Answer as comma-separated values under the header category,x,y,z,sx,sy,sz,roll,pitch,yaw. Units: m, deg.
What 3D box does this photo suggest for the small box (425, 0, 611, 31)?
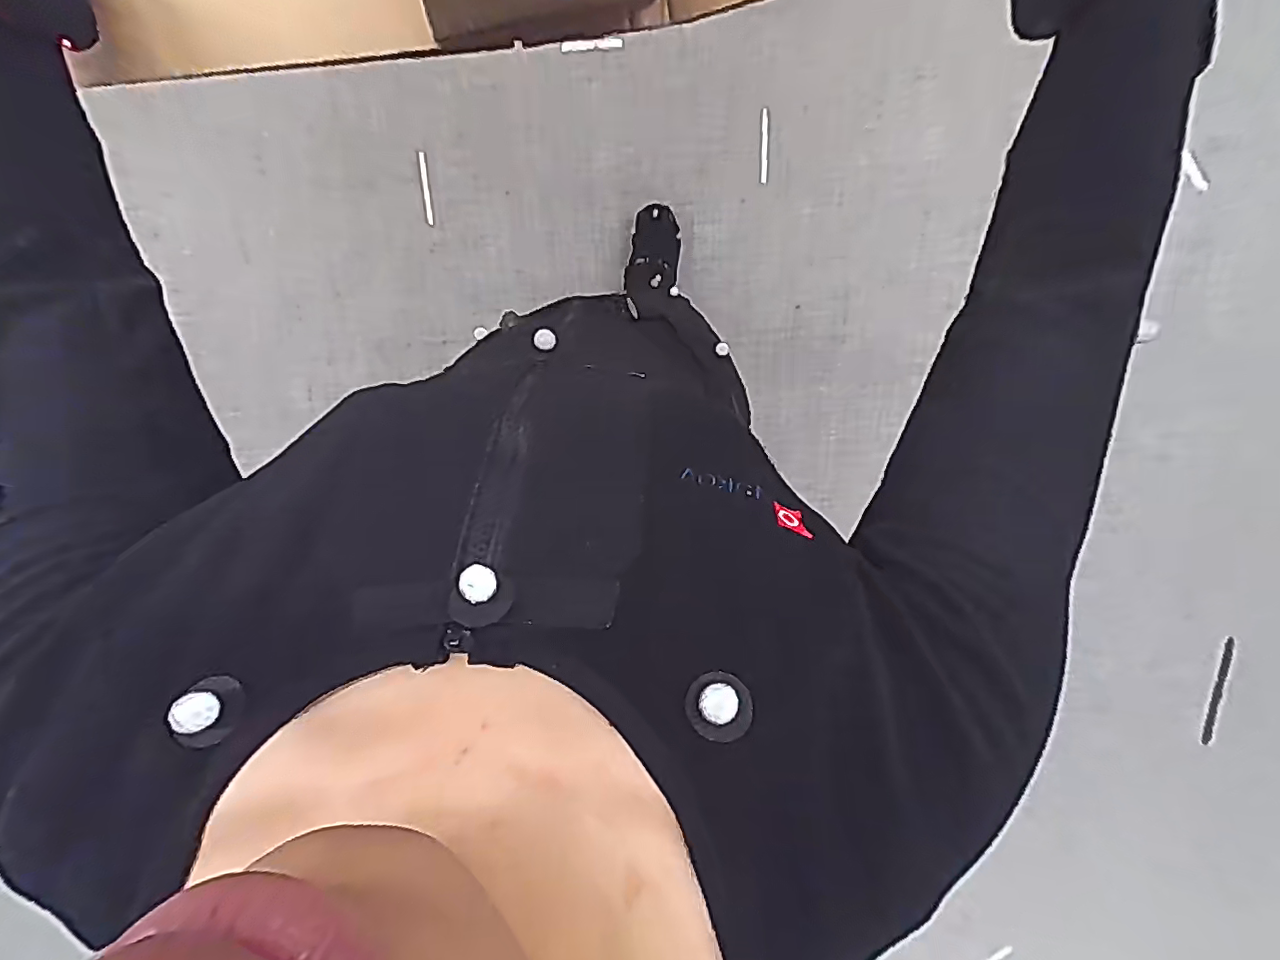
category,x,y,z,sx,sy,sz,roll,pitch,yaw
small box,-0.054,-0.365,0.274,0.179,0.176,0.168,-18,119,-6
